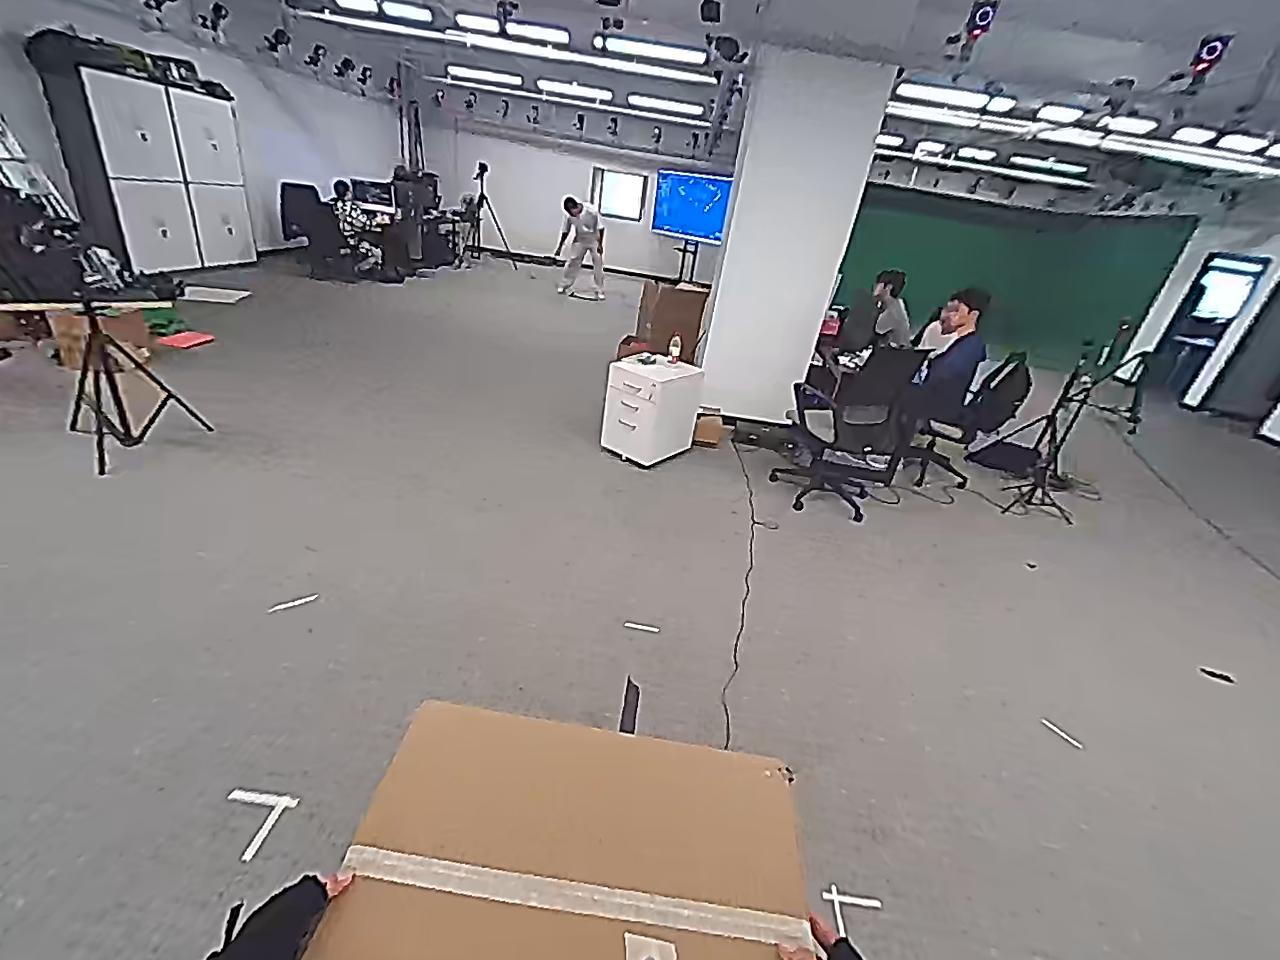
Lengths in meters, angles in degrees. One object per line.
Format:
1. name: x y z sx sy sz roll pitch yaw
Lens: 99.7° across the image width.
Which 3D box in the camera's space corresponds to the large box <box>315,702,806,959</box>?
1. large box: -0.073 0.485 0.564 0.408 0.320 0.320 10 34 0
